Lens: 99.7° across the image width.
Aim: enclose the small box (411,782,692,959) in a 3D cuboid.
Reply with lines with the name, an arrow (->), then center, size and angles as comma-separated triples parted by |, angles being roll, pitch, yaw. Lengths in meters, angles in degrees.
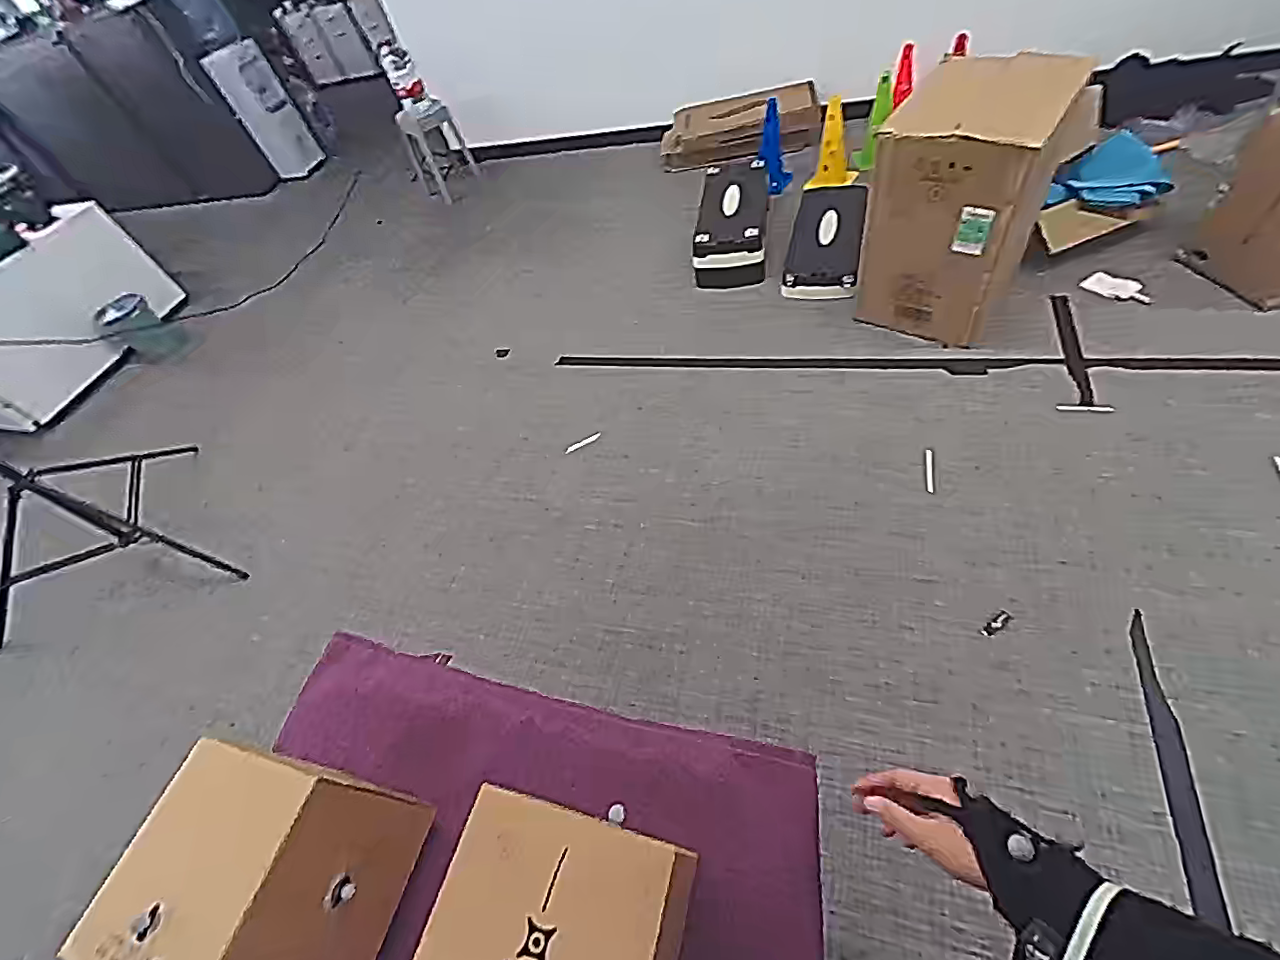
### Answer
small box -> -0.060, 0.371, 0.431 | 0.168, 0.176, 0.179 | 8, 56, 18
